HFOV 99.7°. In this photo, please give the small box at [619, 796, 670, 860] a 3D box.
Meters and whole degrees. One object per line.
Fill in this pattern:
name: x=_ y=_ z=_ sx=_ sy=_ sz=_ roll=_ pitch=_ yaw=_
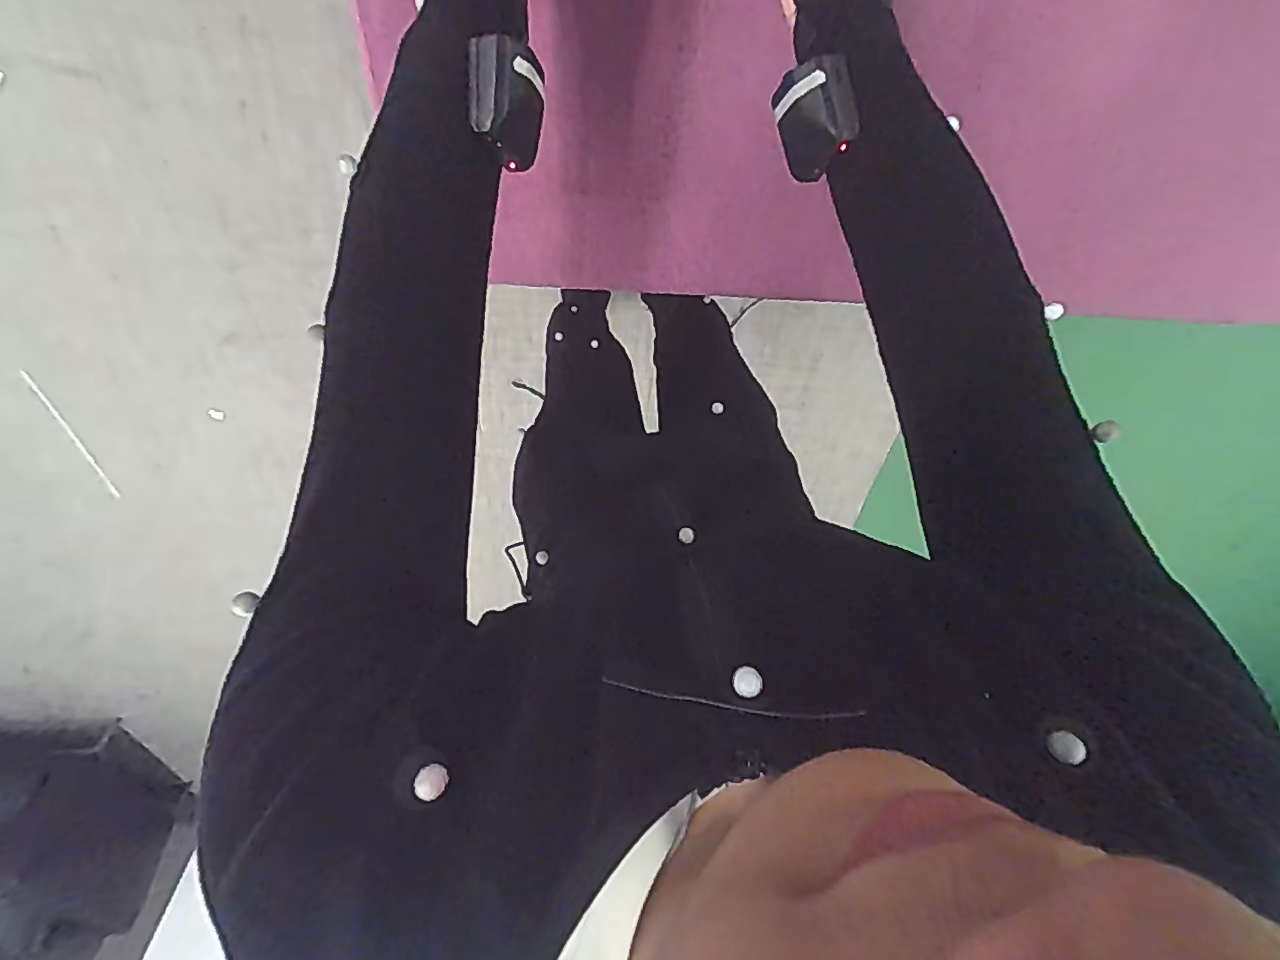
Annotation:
small box: x=0.012 y=1.342 z=2.082 sx=0.168 sy=0.176 sz=0.179 roll=5 pitch=130 yaw=-9
